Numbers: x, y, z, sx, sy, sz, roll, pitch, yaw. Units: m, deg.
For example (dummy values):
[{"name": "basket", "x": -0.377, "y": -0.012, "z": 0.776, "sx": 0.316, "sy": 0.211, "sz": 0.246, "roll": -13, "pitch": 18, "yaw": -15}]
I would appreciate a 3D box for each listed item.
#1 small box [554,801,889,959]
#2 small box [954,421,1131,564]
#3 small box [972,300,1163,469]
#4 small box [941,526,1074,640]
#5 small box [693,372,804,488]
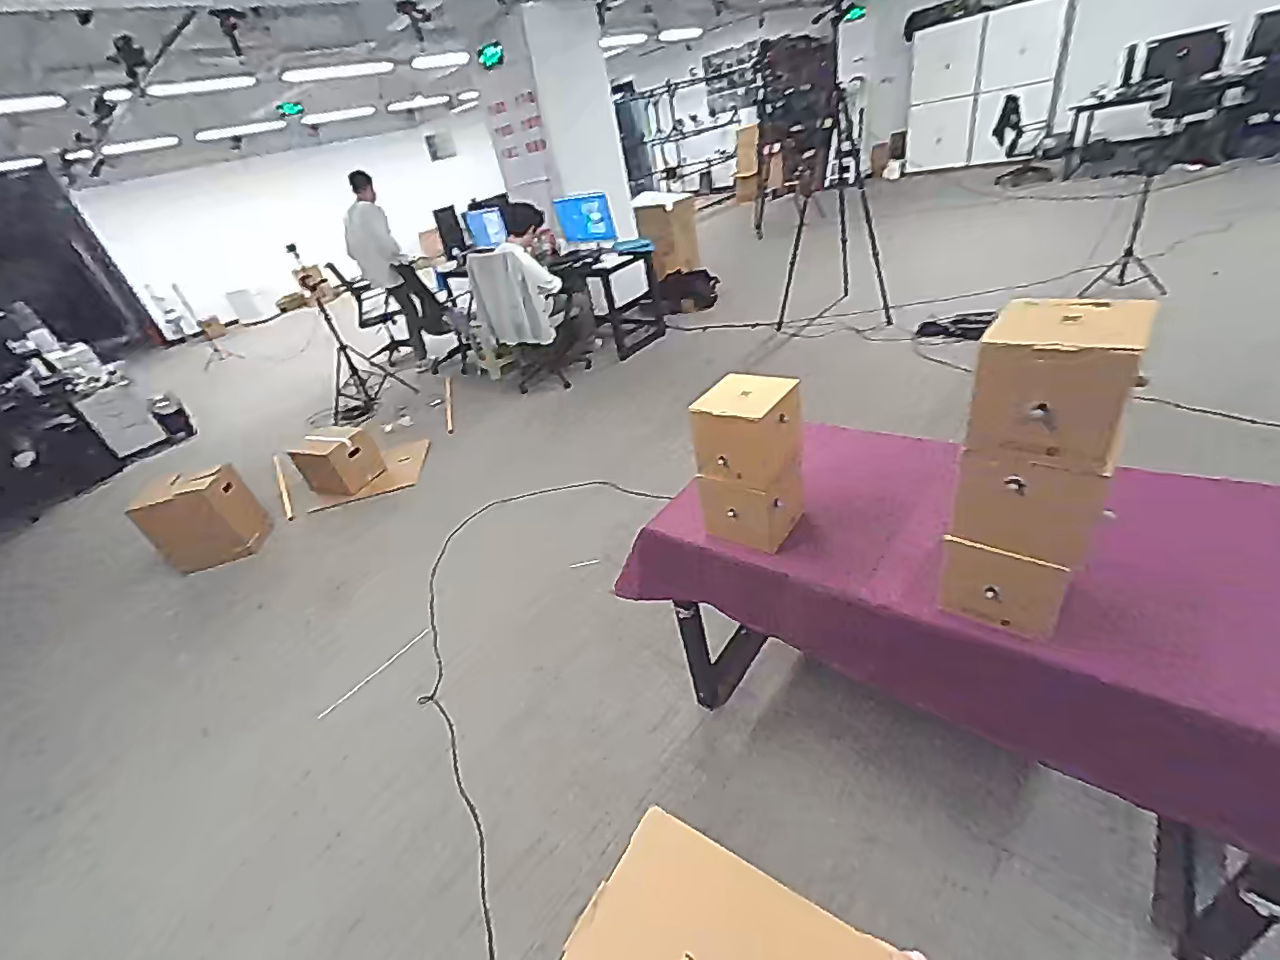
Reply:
[{"name": "small box", "x": 0.047, "y": 0.370, "z": 0.360, "sx": 0.179, "sy": 0.176, "sz": 0.168, "roll": 13, "pitch": 40, "yaw": 33}, {"name": "small box", "x": 0.609, "y": 0.003, "z": 0.832, "sx": 0.179, "sy": 0.176, "sz": 0.168, "roll": 19, "pitch": 45, "yaw": 39}, {"name": "small box", "x": 0.580, "y": -0.137, "z": 0.749, "sx": 0.168, "sy": 0.176, "sz": 0.179, "roll": 19, "pitch": 45, "yaw": 39}, {"name": "small box", "x": 0.633, "y": 0.137, "z": 0.924, "sx": 0.168, "sy": 0.176, "sz": 0.179, "roll": 18, "pitch": 44, "yaw": 39}, {"name": "small box", "x": 0.233, "y": -0.109, "z": 1.139, "sx": 0.168, "sy": 0.176, "sz": 0.179, "roll": 15, "pitch": 43, "yaw": 37}]
